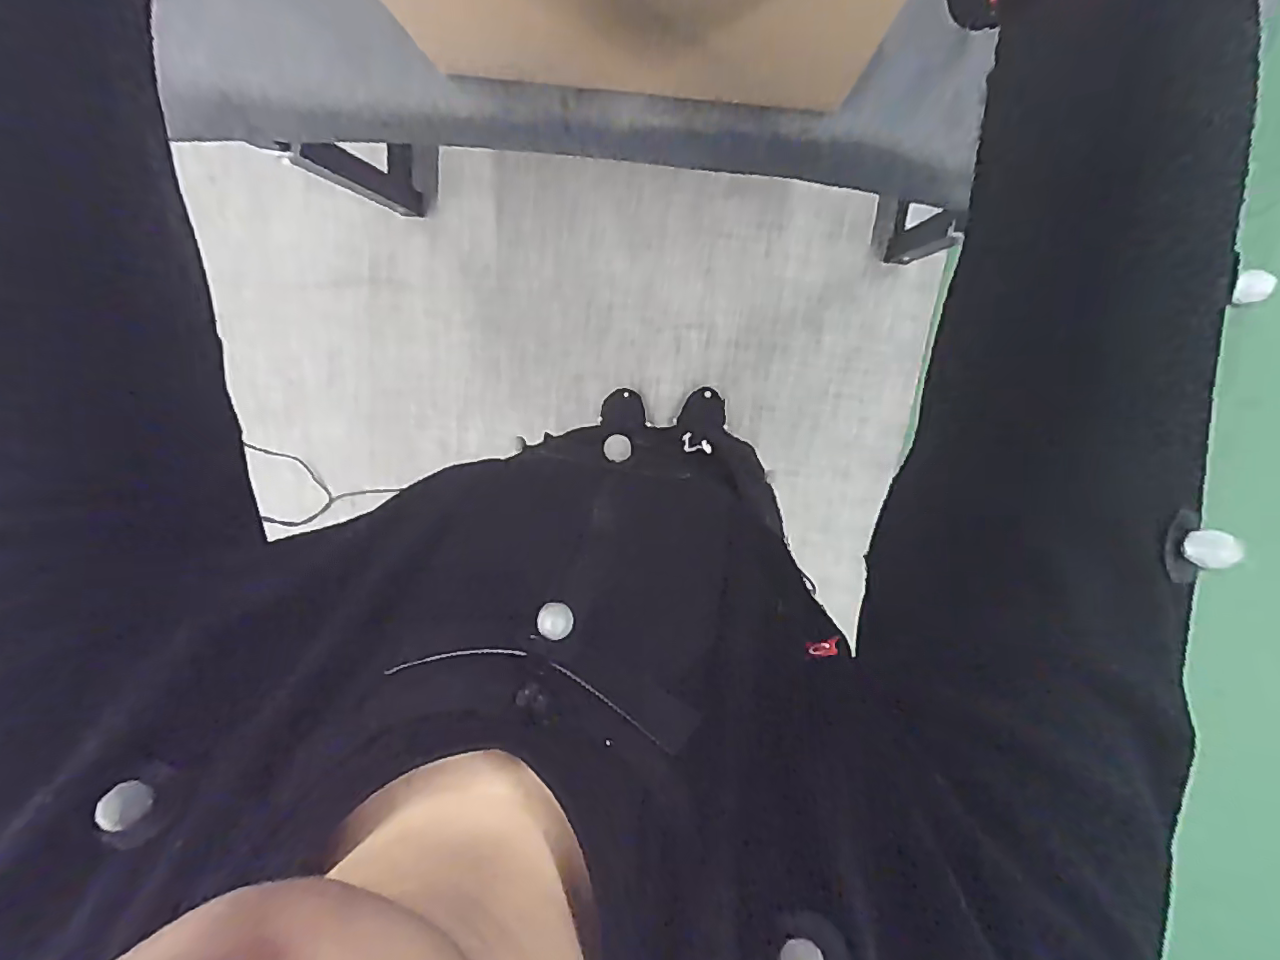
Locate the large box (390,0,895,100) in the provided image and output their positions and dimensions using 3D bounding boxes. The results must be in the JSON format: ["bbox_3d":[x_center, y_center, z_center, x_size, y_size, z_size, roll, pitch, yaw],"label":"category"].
[{"bbox_3d":[0.001,-0.508,0.364,0.408,0.320,0.320,6,103,2],"label":"large box"}]
